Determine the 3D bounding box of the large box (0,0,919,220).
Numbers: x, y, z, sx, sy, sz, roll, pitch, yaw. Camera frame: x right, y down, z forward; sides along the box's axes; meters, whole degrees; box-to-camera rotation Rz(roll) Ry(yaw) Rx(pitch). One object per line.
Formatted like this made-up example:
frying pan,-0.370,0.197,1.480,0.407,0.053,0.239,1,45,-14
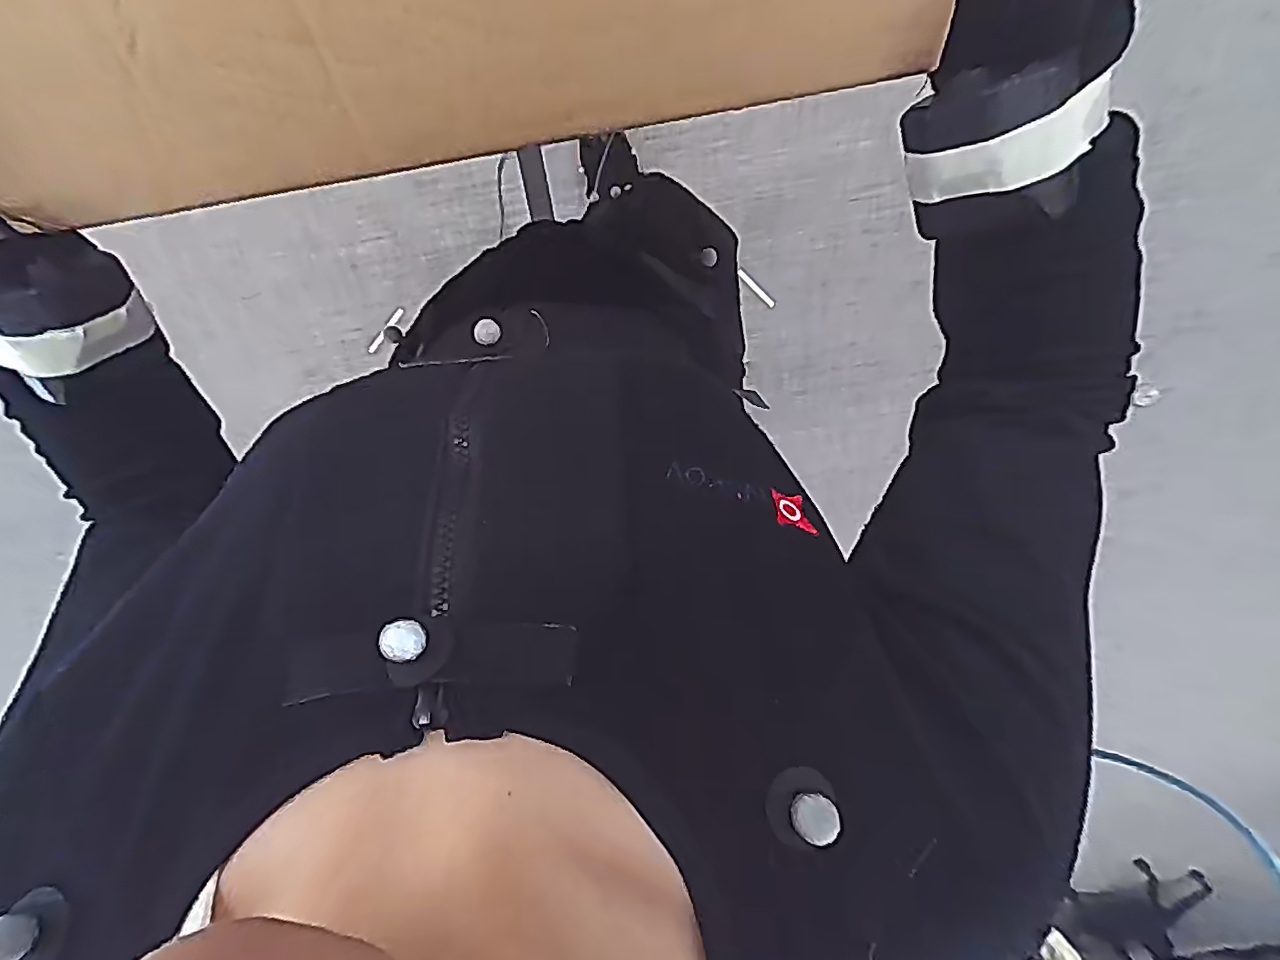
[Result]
large box,-0.113,-0.360,0.218,0.408,0.320,0.320,-8,139,3
